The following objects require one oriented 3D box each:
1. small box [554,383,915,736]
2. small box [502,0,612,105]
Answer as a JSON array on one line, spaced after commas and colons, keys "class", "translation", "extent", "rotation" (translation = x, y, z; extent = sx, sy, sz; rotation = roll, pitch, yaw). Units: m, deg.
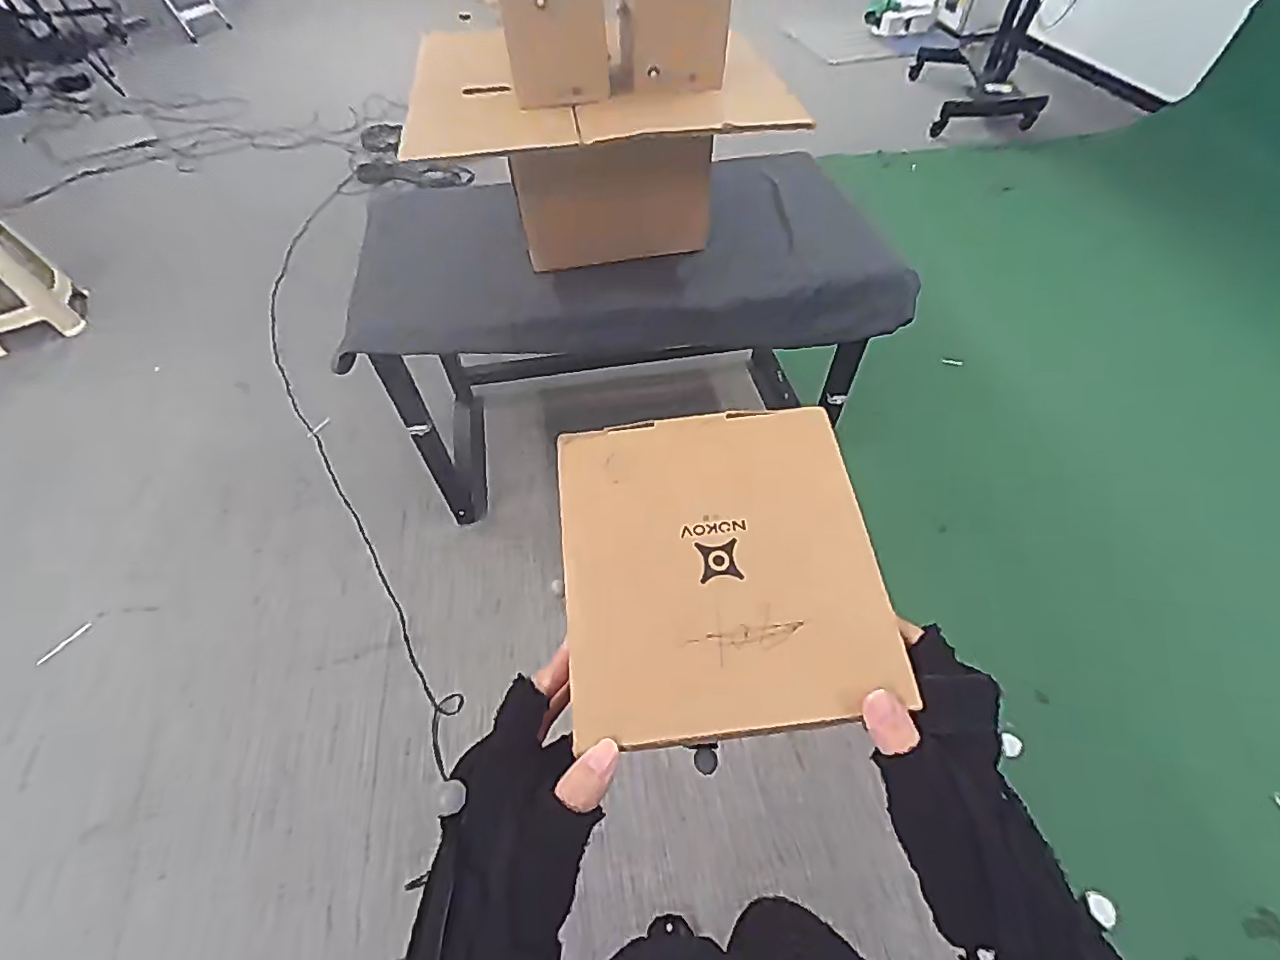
[{"class": "small box", "translation": [0.038, 0.062, 0.353], "extent": [0.168, 0.176, 0.179], "rotation": [-6, 64, -2]}, {"class": "small box", "translation": [-0.145, -0.782, 0.939], "extent": [0.168, 0.176, 0.179], "rotation": [-10, 54, -3]}]
